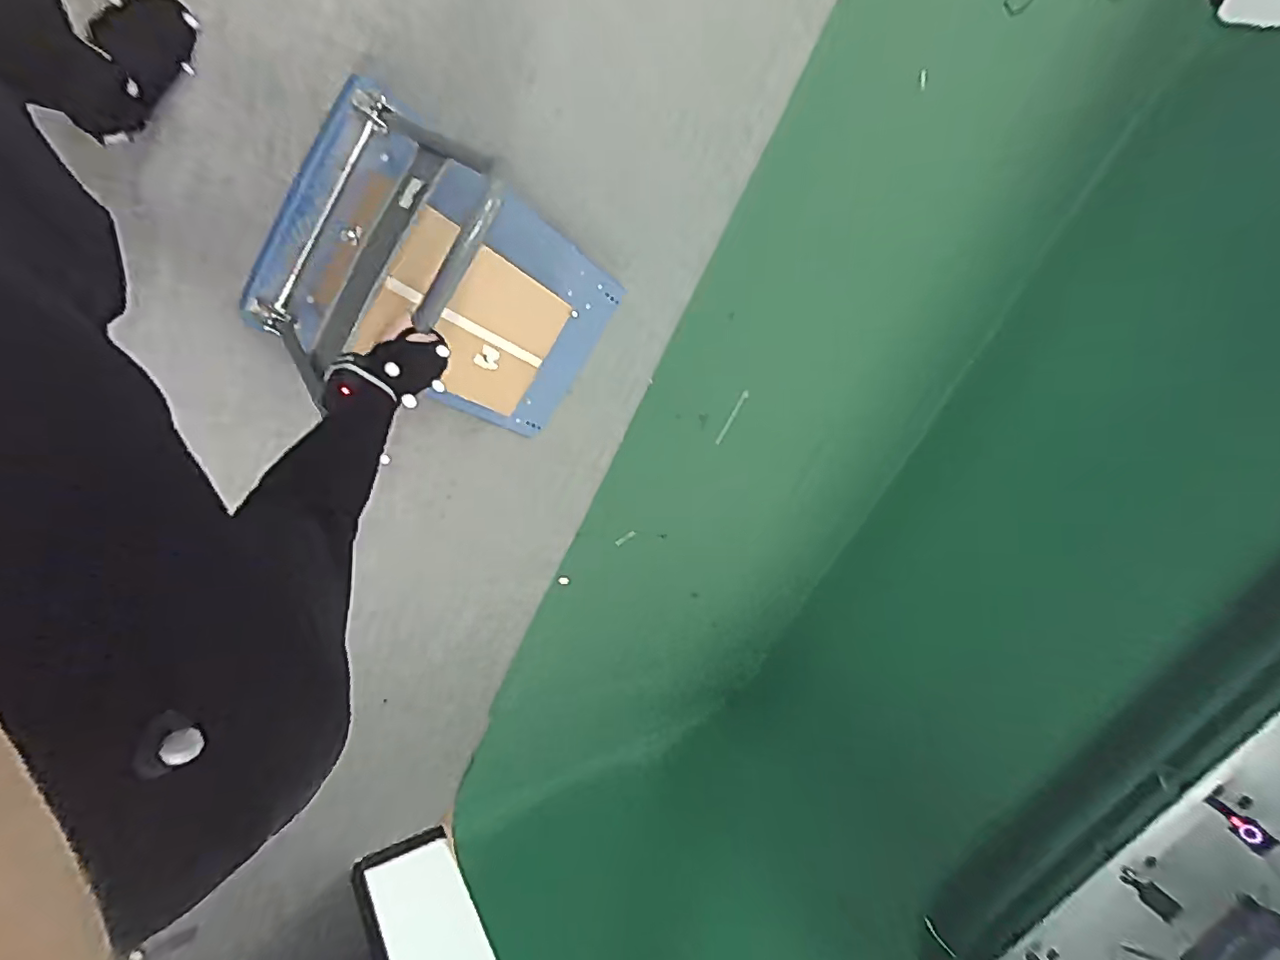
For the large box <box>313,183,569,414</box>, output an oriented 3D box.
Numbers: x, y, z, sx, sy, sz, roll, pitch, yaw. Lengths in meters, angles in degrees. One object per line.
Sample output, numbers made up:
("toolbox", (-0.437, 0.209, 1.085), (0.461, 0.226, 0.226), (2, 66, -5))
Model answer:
("large box", (-0.456, -0.405, 1.251), (0.408, 0.320, 0.320), (21, 106, -51))
